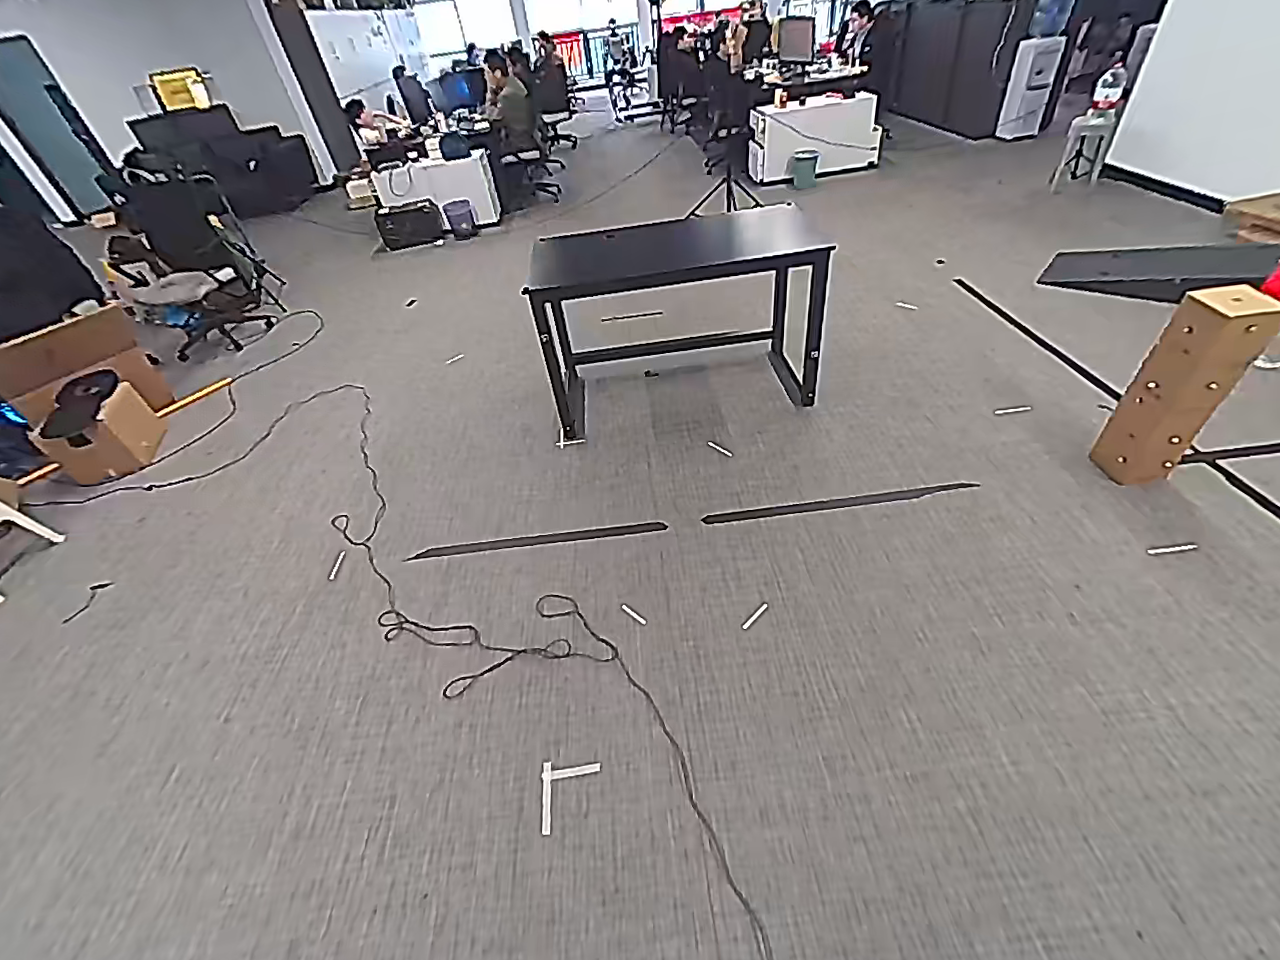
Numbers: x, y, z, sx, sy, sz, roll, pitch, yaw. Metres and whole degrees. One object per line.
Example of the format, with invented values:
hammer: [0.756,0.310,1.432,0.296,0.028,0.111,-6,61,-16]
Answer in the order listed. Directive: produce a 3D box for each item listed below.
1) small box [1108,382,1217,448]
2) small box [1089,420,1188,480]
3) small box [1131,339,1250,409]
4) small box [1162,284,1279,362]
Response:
small box: [1.775,-0.231,1.851,0.179,0.176,0.168,-9,42,0]
small box: [1.797,-0.112,1.961,0.168,0.176,0.179,-8,40,1]
small box: [1.755,-0.349,1.738,0.179,0.176,0.168,-10,42,1]
small box: [1.736,-0.468,1.625,0.179,0.176,0.168,-6,42,3]
